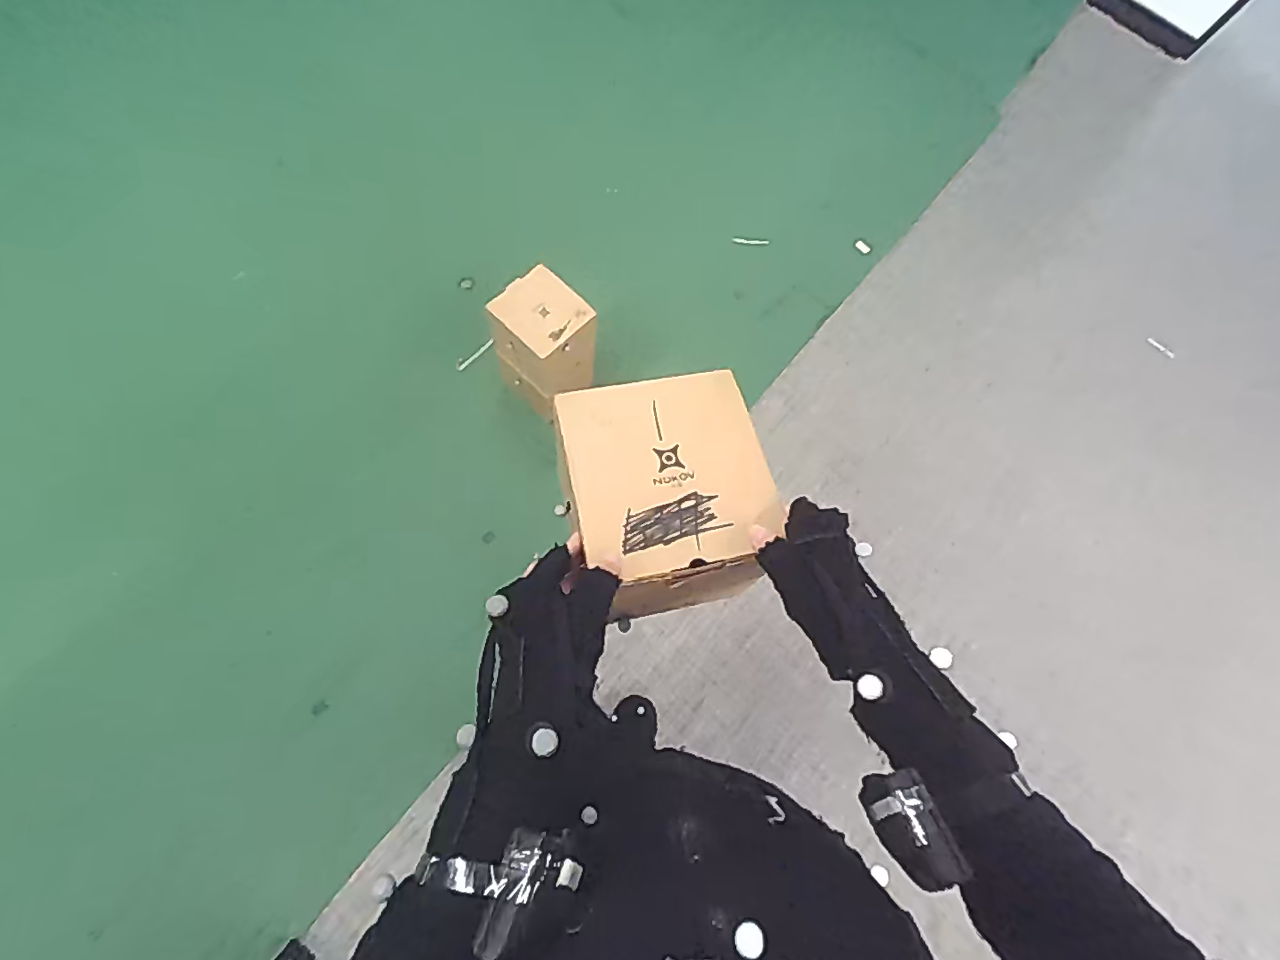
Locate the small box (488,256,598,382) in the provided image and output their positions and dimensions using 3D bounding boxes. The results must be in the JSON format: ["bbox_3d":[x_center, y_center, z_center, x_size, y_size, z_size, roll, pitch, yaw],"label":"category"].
[{"bbox_3d":[-0.214,-0.355,1.220,0.179,0.176,0.168,43,74,7],"label":"small box"}]

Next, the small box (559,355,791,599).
[{"bbox_3d":[0.019,0.008,0.525,0.168,0.176,0.179,-10,67,-11],"label":"small box"}]

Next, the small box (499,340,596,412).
[{"bbox_3d":[-0.232,-0.305,1.375,0.179,0.176,0.168,42,74,4],"label":"small box"}]
